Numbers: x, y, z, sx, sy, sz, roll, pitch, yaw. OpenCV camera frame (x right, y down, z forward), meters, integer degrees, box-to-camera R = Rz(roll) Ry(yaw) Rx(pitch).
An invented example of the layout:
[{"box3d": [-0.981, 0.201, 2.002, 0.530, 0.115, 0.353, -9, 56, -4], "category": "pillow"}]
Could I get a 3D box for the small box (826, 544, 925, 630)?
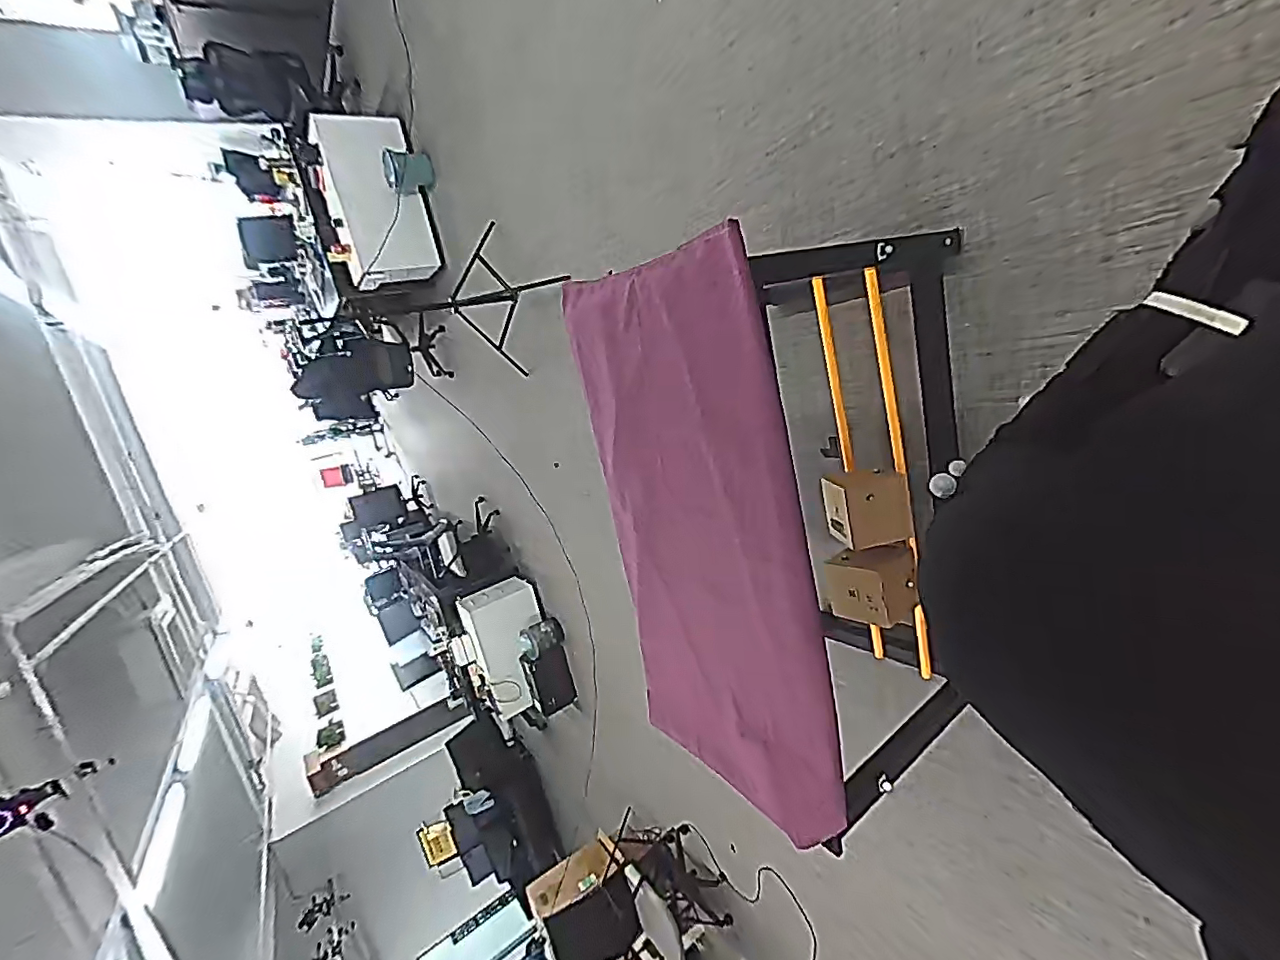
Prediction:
[{"box3d": [0.650, 0.286, 1.491, 0.179, 0.176, 0.168, 0, 108, 56], "category": "small box"}]
